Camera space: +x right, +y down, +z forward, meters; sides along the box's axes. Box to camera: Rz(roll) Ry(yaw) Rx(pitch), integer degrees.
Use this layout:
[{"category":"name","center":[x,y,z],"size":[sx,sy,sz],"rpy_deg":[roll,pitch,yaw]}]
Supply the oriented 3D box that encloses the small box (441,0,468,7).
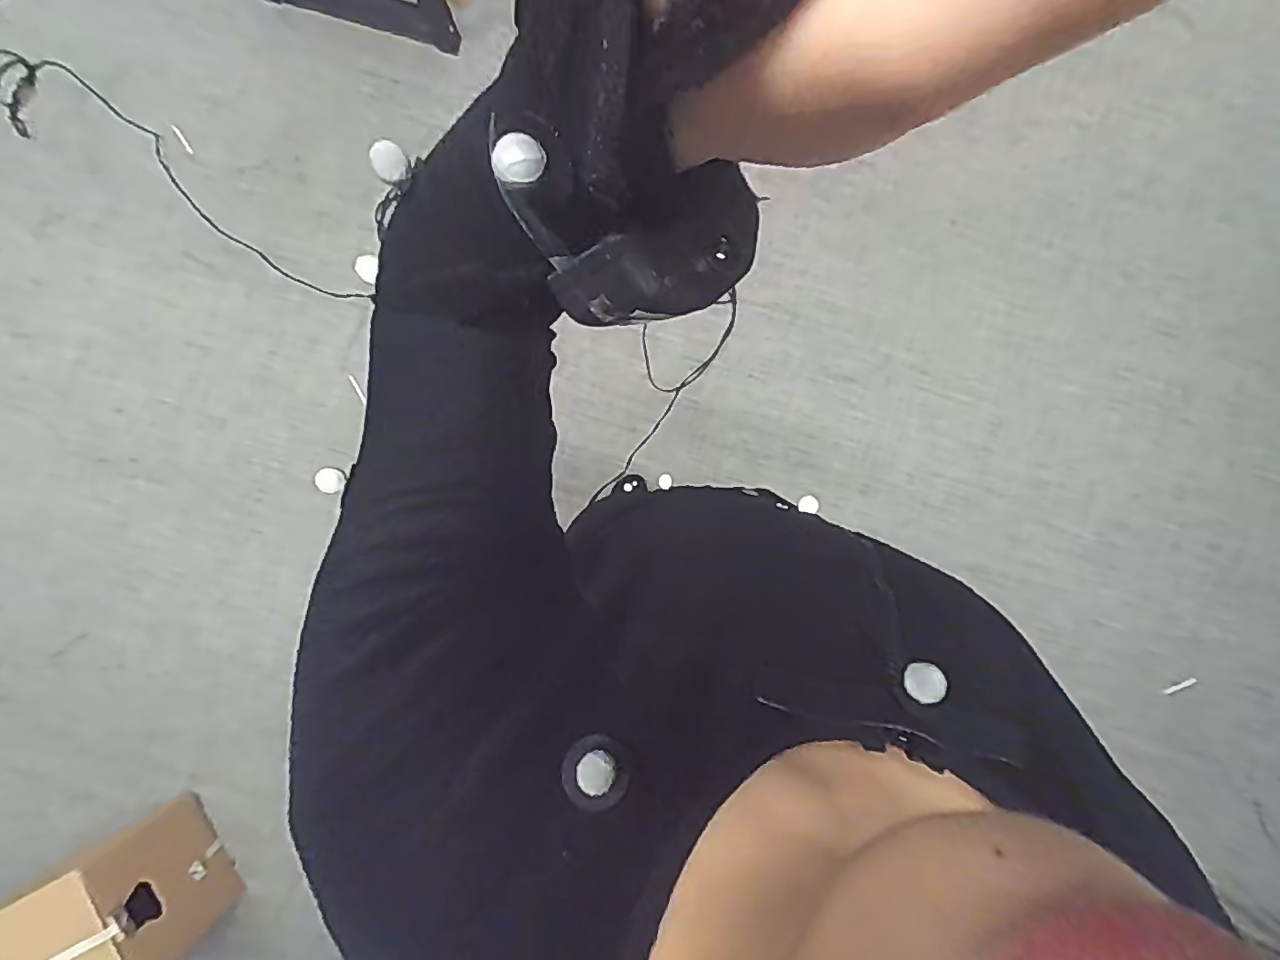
[{"category":"small box","center":[-0.538,-1.432,1.447],"size":[0.179,0.176,0.168],"rpy_deg":[21,89,1]}]
